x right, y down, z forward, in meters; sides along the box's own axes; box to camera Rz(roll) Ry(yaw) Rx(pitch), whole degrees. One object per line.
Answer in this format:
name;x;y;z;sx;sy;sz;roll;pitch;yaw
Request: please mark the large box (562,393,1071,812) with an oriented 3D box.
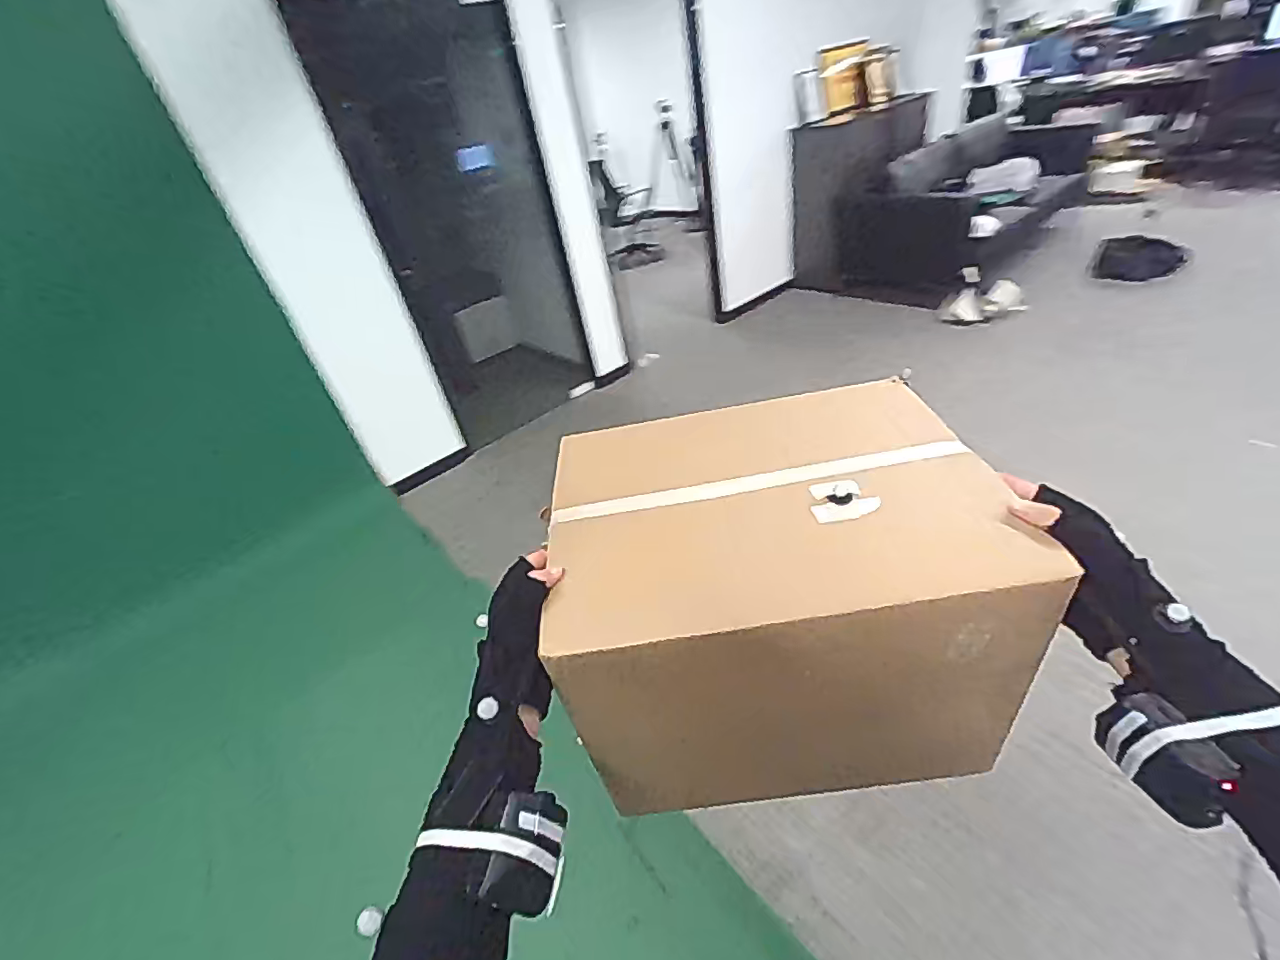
large box;0.147;0.134;0.622;0.408;0.320;0.320;-9;37;4
